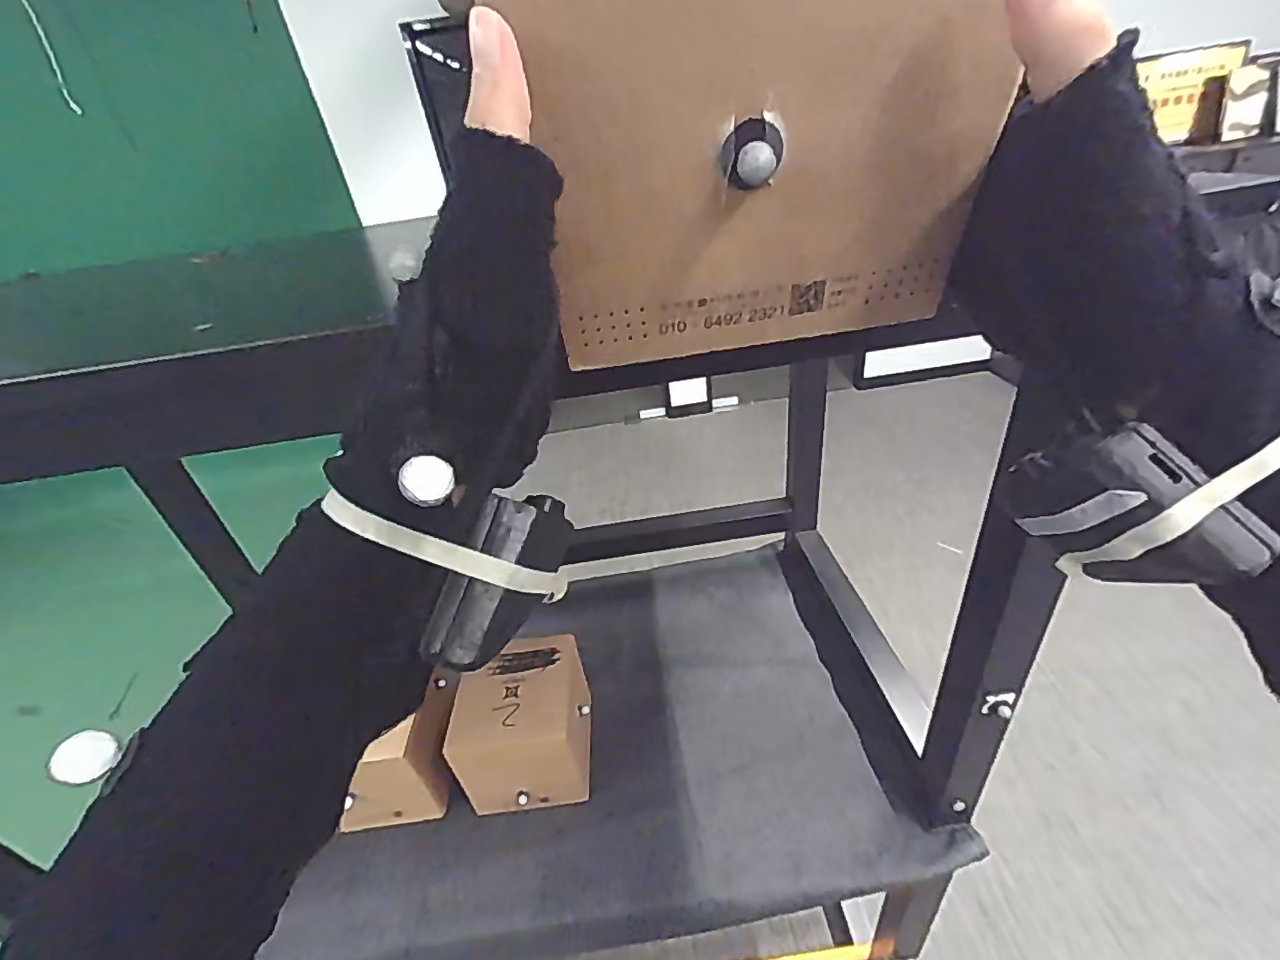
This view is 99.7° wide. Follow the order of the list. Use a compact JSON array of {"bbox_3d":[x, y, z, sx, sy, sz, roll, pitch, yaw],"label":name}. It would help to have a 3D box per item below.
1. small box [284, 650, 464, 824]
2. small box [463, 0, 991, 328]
[{"bbox_3d":[-0.382,0.391,0.818,0.168,0.176,0.179,-8,32,0],"label":"small box"},{"bbox_3d":[0.027,-0.181,0.235,0.168,0.176,0.179,-8,49,0],"label":"small box"}]
